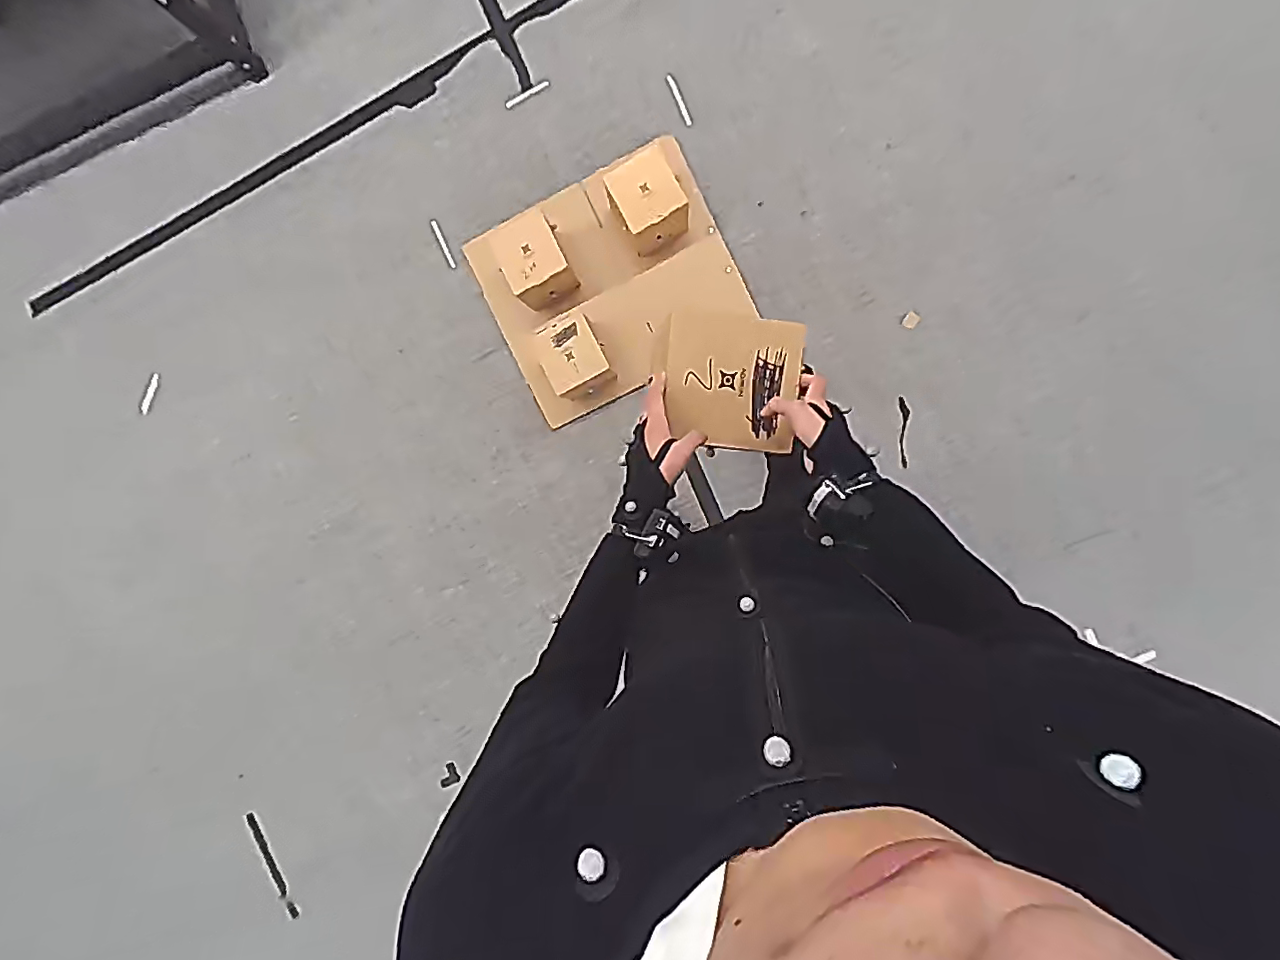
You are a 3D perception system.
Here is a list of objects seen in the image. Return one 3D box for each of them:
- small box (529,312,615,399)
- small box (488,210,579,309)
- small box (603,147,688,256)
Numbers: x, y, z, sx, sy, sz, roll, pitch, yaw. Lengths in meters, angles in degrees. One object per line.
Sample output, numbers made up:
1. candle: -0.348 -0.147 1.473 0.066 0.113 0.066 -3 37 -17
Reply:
1. small box: -0.184 -0.342 1.523 0.168 0.176 0.179 -27 93 7
2. small box: -0.291 -0.606 1.510 0.168 0.176 0.179 -26 92 7
3. small box: 0.019 -0.751 1.480 0.168 0.176 0.179 -29 91 6
